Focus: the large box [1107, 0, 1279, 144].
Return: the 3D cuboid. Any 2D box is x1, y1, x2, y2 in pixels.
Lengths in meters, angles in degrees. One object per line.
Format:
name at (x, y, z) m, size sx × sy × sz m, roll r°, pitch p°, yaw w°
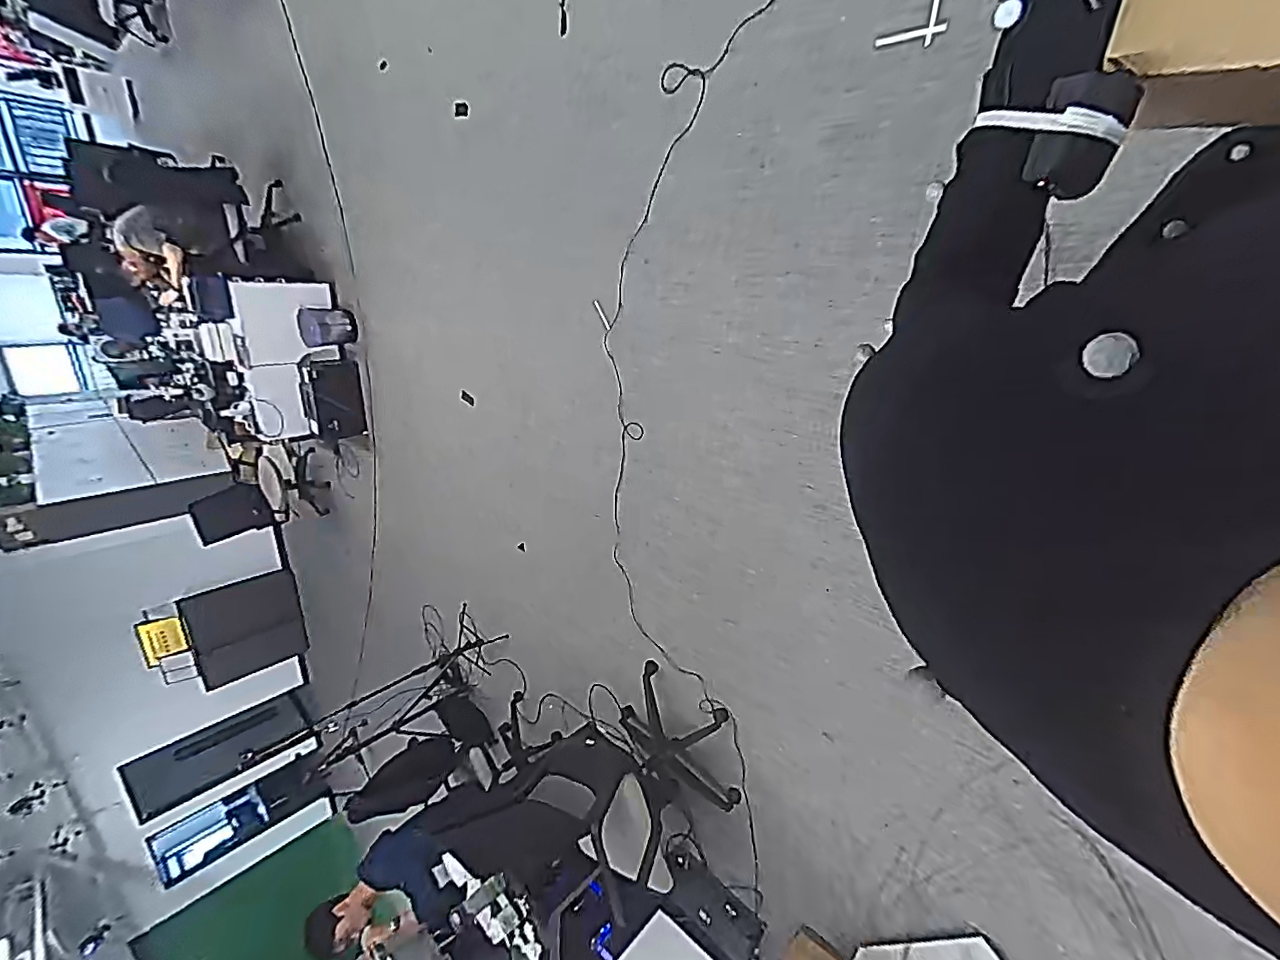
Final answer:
large box at (0.558, -0.386, 0.287) m, size 0.408 × 0.320 × 0.320 m, roll 22°, pitch 124°, yaw 35°
